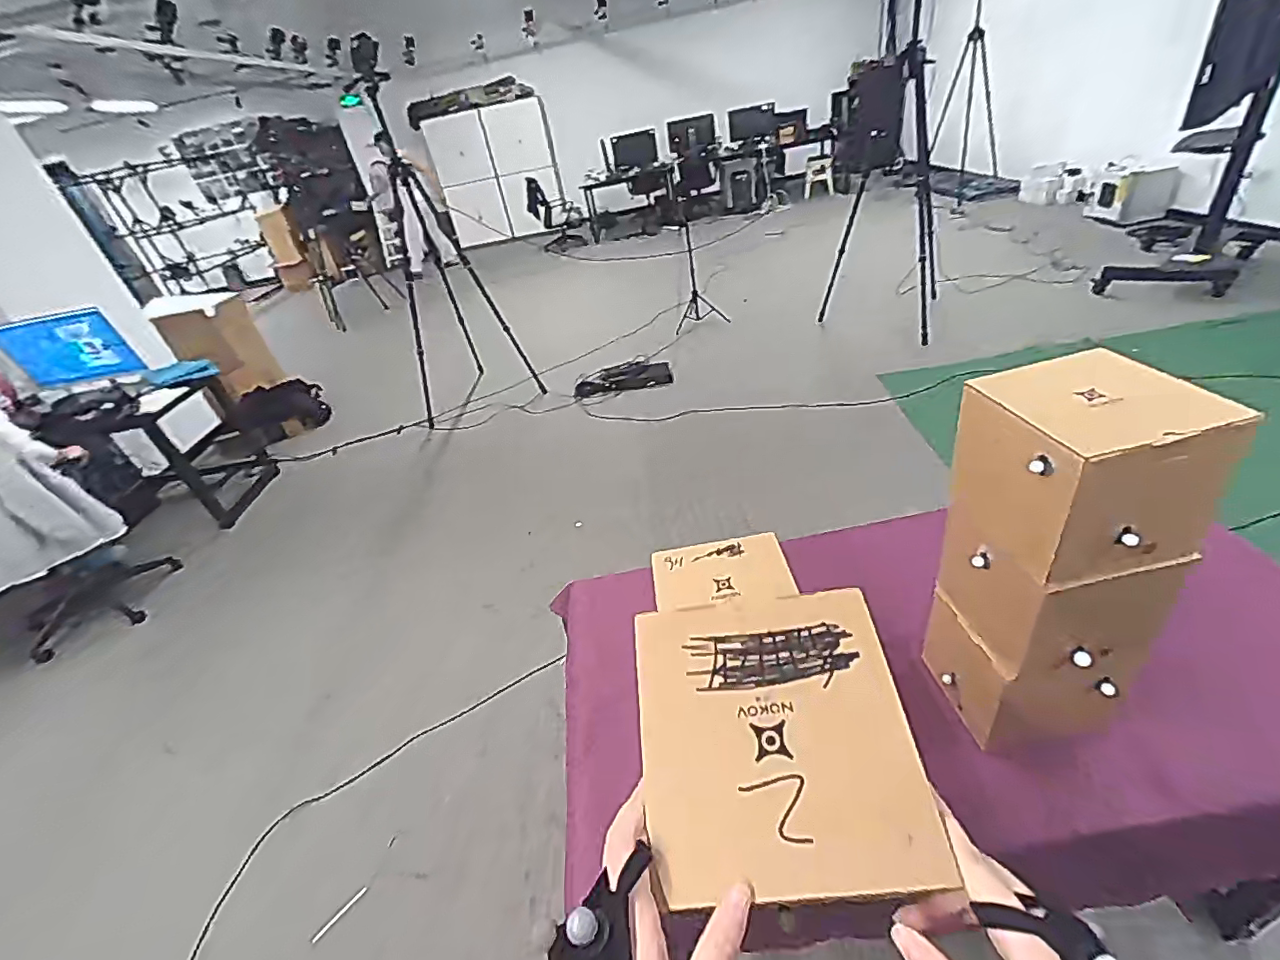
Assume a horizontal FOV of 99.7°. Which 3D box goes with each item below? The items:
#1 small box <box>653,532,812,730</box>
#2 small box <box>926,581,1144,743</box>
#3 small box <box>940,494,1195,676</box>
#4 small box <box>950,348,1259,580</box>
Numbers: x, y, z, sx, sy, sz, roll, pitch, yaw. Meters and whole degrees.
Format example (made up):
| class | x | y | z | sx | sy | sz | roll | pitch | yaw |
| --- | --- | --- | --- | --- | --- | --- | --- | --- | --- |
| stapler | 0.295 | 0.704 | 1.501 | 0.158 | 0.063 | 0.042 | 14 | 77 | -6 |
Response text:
| class | x | y | z | sx | sy | sz | roll | pitch | yaw |
| --- | --- | --- | --- | --- | --- | --- | --- | --- | --- |
| small box | 0.115 | 0.196 | 0.689 | 0.168 | 0.176 | 0.179 | -10 | 35 | 3 |
| small box | 0.539 | 0.245 | 0.771 | 0.179 | 0.176 | 0.168 | -12 | 34 | 2 |
| small box | 0.508 | 0.113 | 0.680 | 0.168 | 0.176 | 0.179 | -13 | 35 | 1 |
| small box | 0.474 | -0.020 | 0.593 | 0.168 | 0.176 | 0.179 | -14 | 35 | -1 |
